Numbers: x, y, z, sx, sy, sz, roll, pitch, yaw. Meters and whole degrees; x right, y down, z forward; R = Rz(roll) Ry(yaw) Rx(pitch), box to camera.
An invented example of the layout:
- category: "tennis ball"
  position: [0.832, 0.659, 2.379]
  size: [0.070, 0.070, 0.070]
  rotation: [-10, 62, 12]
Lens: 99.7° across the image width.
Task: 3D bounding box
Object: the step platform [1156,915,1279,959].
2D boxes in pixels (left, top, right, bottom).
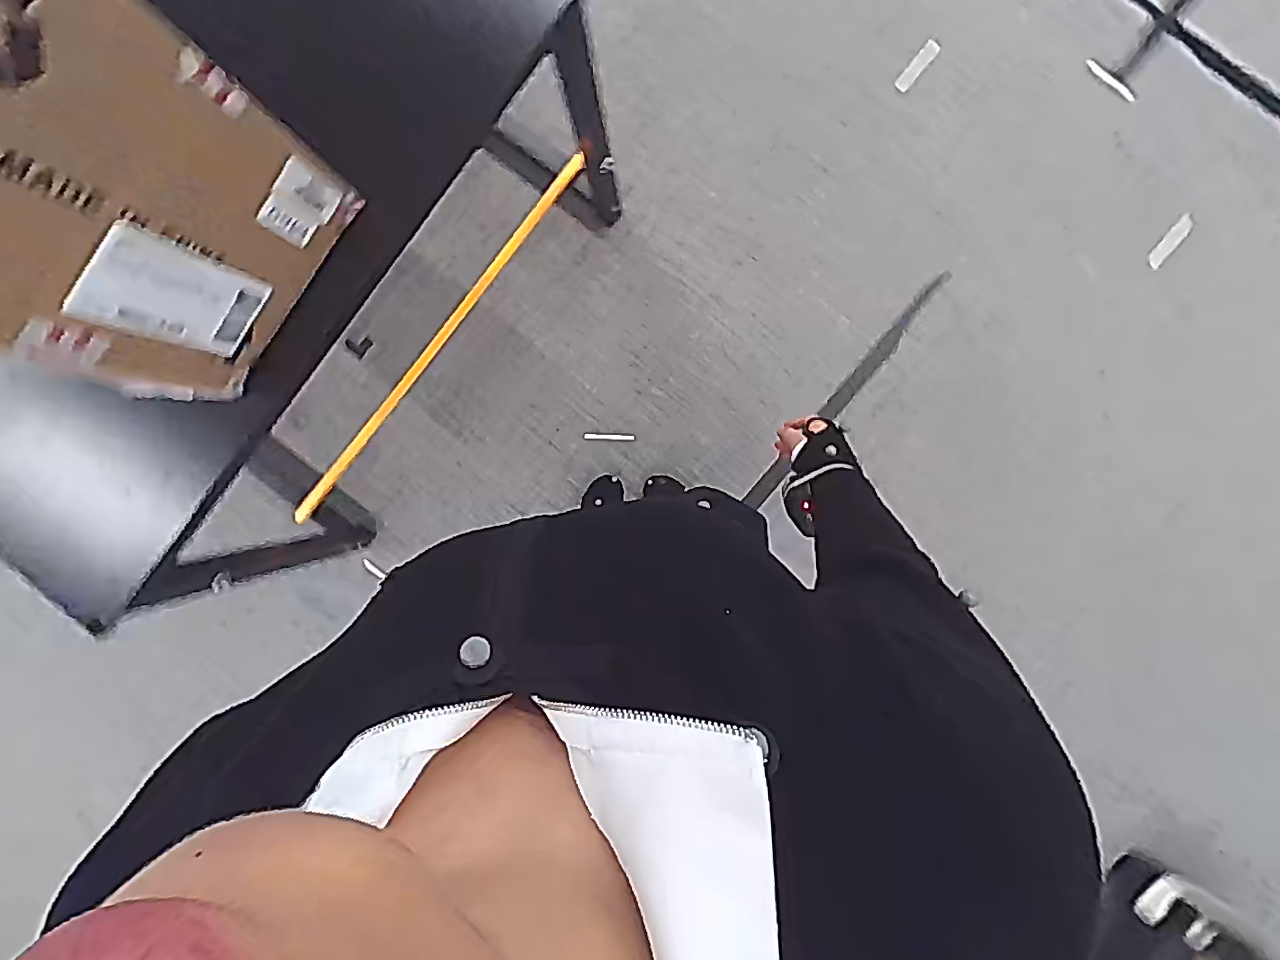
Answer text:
- category: "step platform"
  position: [1.195, 1.319, 1.165]
  size: [0.286, 0.204, 0.684]
  rotation: [37, 93, 1]
